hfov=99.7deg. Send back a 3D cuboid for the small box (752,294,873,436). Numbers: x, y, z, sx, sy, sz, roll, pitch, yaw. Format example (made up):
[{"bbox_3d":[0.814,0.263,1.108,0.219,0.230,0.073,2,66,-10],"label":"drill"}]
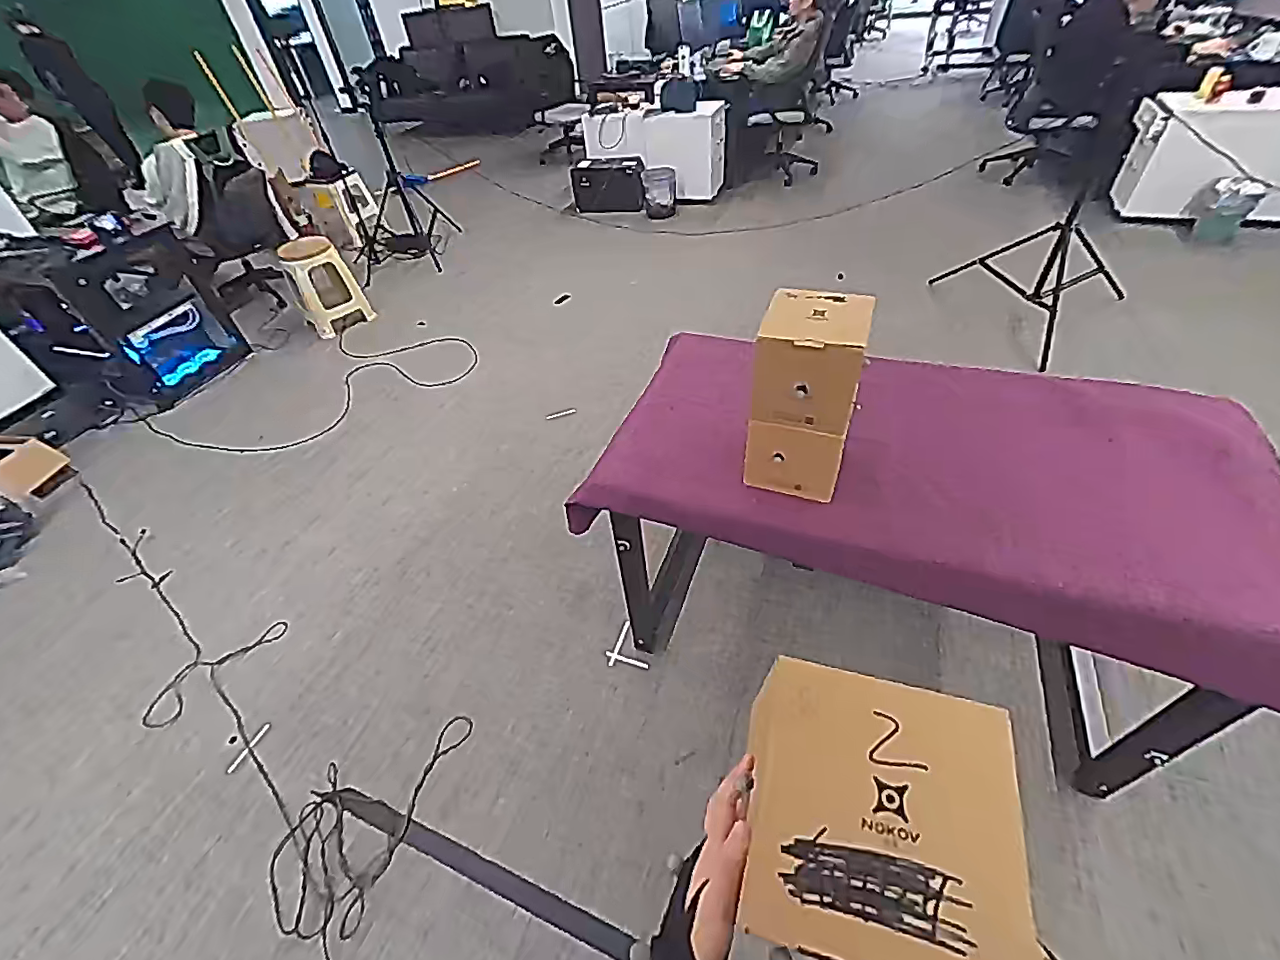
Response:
[{"bbox_3d":[0.295,-0.199,0.938,0.168,0.176,0.179,13,47,18],"label":"small box"}]

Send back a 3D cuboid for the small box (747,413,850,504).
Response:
[{"bbox_3d":[0.308,-0.079,1.049,0.168,0.176,0.179,14,47,19],"label":"small box"}]
